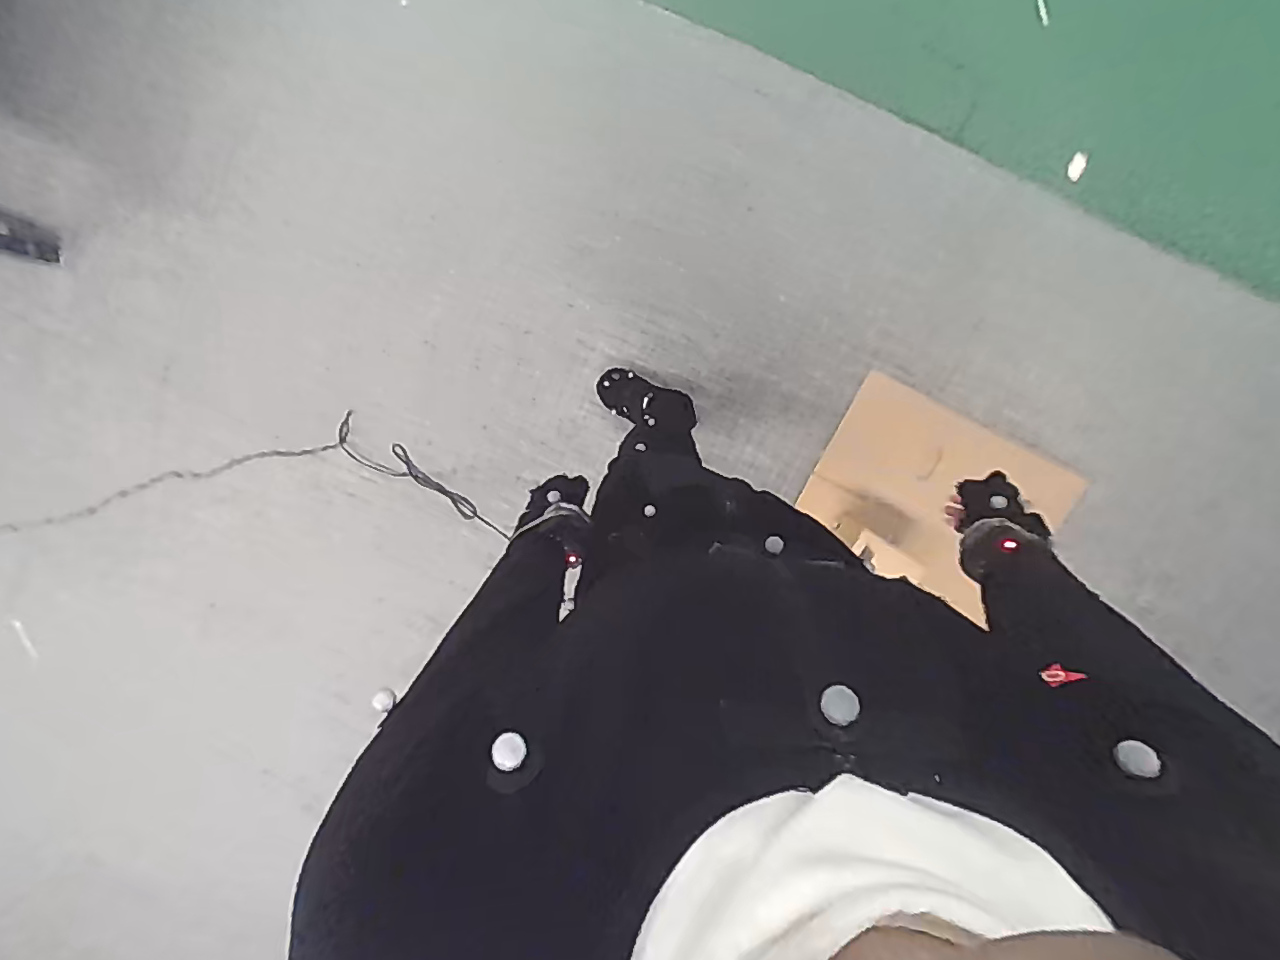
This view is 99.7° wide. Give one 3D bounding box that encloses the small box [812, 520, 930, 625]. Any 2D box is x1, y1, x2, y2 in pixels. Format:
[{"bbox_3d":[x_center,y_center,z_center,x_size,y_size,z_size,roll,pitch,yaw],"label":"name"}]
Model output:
[{"bbox_3d":[0.546,0.213,1.312,0.179,0.176,0.168,32,99,-2],"label":"small box"}]
